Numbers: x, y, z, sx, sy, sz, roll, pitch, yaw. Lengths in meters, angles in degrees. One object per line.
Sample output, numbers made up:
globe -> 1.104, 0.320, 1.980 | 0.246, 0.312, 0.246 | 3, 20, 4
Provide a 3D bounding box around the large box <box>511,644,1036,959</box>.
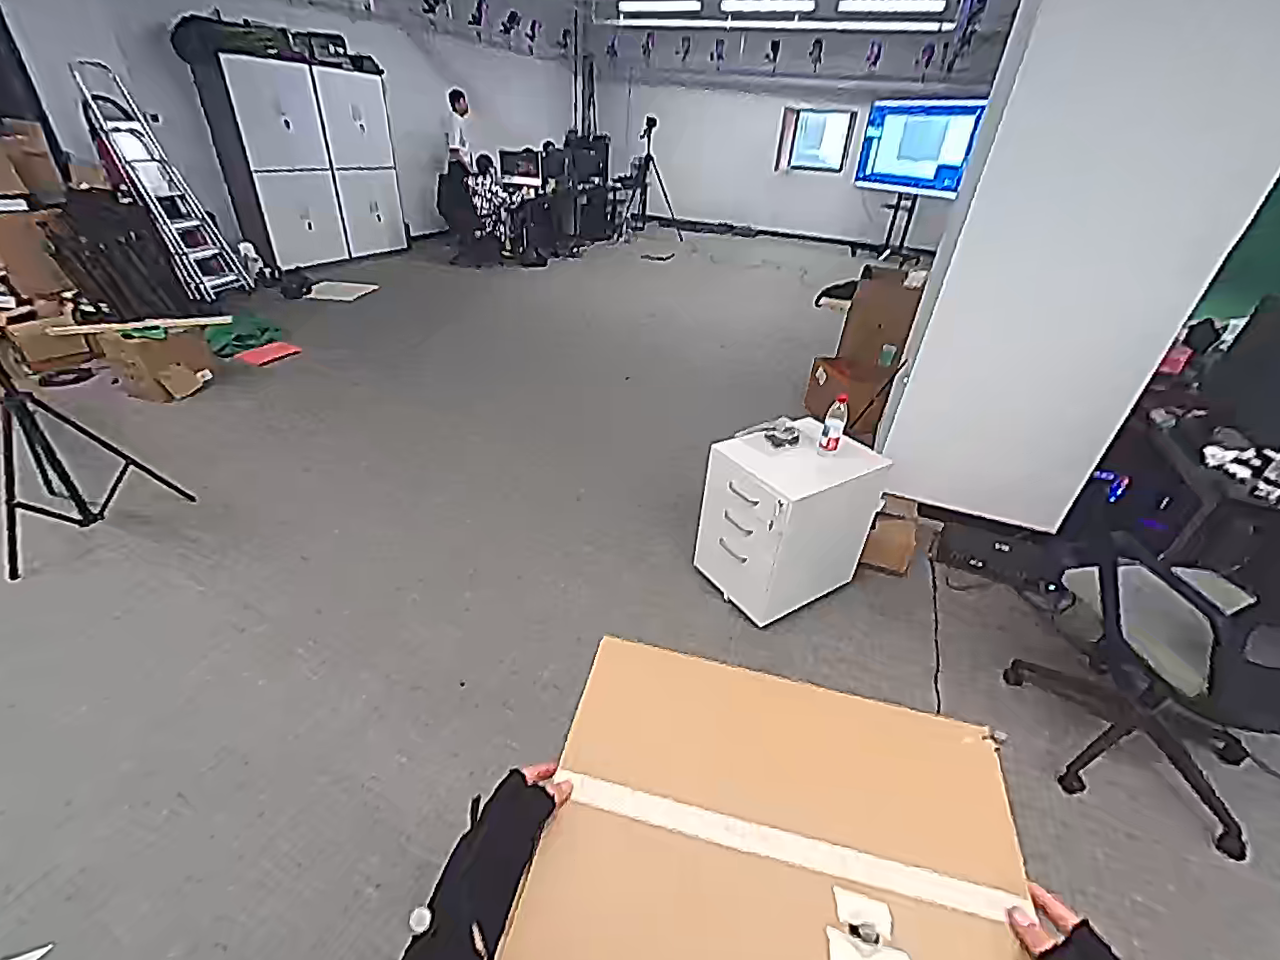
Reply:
large box -> 0.114, 0.427, 0.569 | 0.408, 0.320, 0.320 | 12, 43, 8
